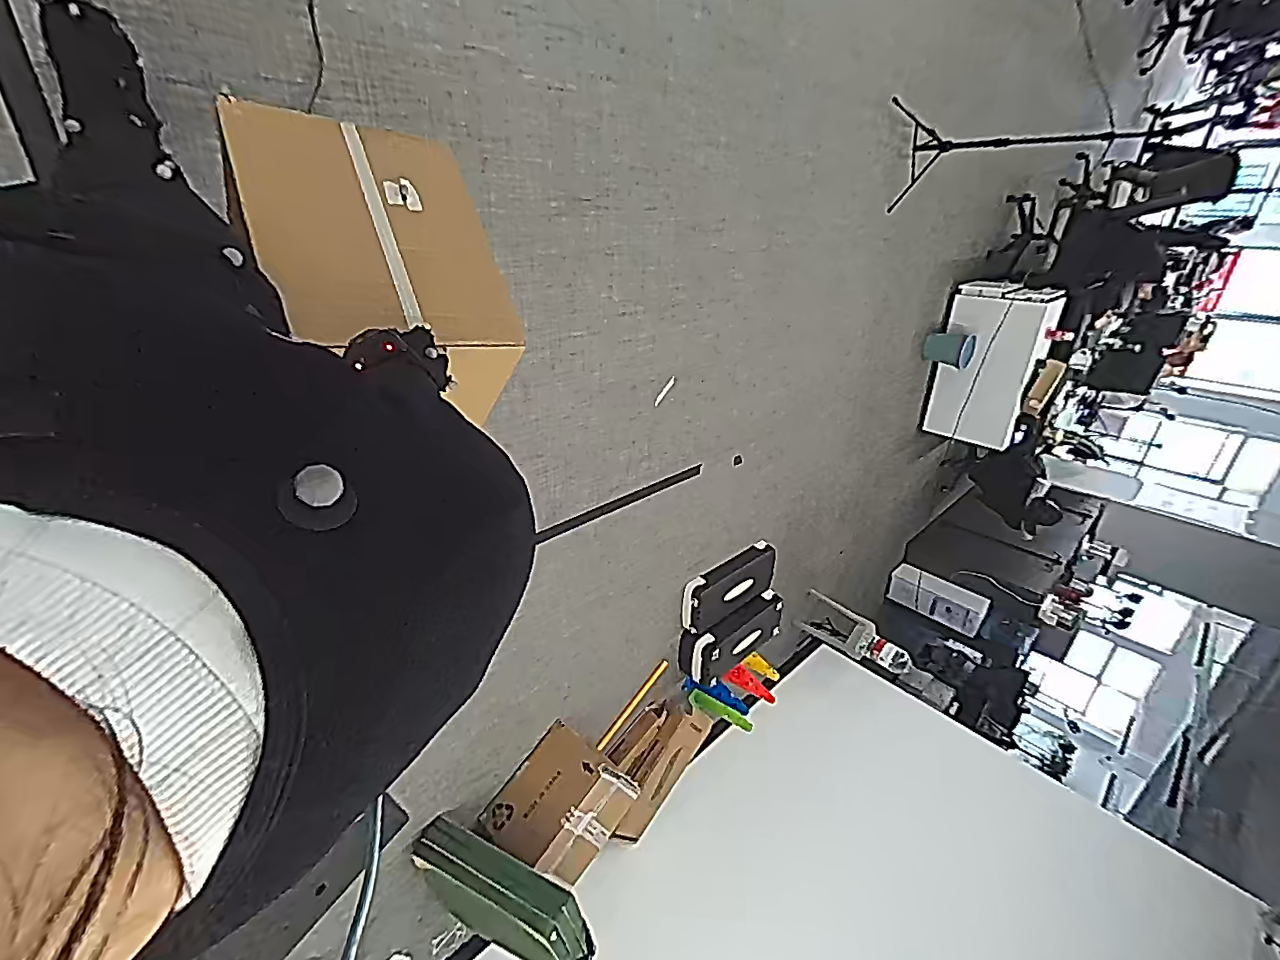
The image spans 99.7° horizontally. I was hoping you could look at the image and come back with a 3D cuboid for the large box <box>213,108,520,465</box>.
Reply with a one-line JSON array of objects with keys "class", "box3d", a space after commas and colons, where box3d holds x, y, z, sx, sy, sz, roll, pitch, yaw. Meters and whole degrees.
[{"class": "large box", "box3d": [-0.448, -0.285, 0.877, 0.320, 0.408, 0.320, -12, 160, -39]}]
